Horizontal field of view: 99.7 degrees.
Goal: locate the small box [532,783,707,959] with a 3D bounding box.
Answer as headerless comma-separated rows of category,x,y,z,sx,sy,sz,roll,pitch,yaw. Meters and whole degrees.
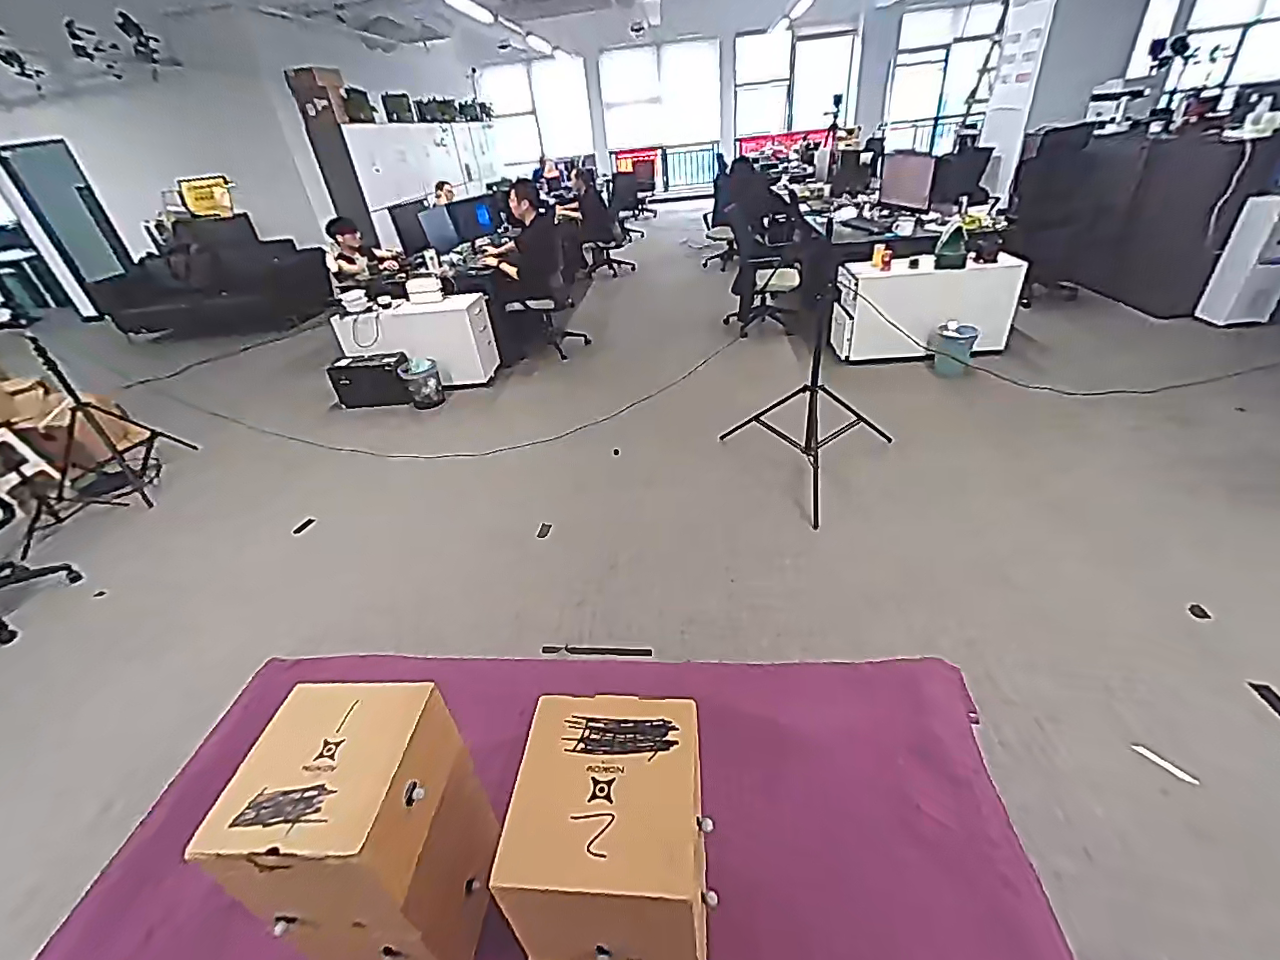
small box,-0.009,0.480,0.616,0.168,0.176,0.179,-2,33,7

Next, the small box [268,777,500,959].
small box,-0.288,0.483,0.660,0.179,0.176,0.168,-2,33,7

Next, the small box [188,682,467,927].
small box,-0.304,0.342,0.577,0.168,0.176,0.179,-3,33,5
